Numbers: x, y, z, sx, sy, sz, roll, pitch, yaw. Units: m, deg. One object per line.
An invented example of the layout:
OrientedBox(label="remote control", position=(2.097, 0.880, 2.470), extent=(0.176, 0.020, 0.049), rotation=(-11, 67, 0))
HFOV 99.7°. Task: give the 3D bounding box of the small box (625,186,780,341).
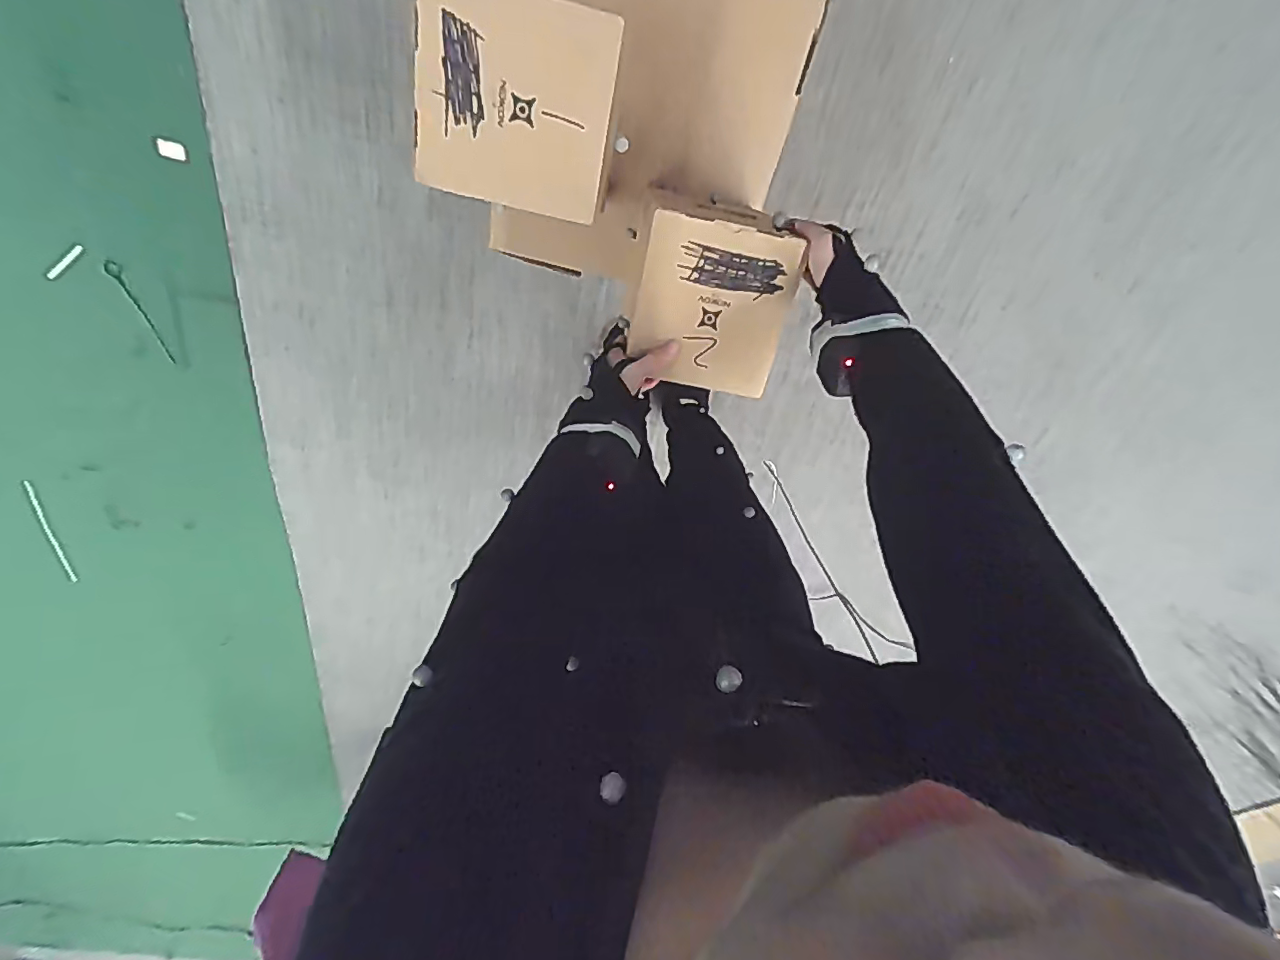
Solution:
OrientedBox(label="small box", position=(0.077, -0.319, 0.782), extent=(0.179, 0.176, 0.168), rotation=(9, 120, -6))

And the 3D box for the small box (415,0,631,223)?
OrientedBox(label="small box", position=(-0.111, -0.375, 0.551), extent=(0.179, 0.176, 0.168), rotation=(10, 120, -6))
